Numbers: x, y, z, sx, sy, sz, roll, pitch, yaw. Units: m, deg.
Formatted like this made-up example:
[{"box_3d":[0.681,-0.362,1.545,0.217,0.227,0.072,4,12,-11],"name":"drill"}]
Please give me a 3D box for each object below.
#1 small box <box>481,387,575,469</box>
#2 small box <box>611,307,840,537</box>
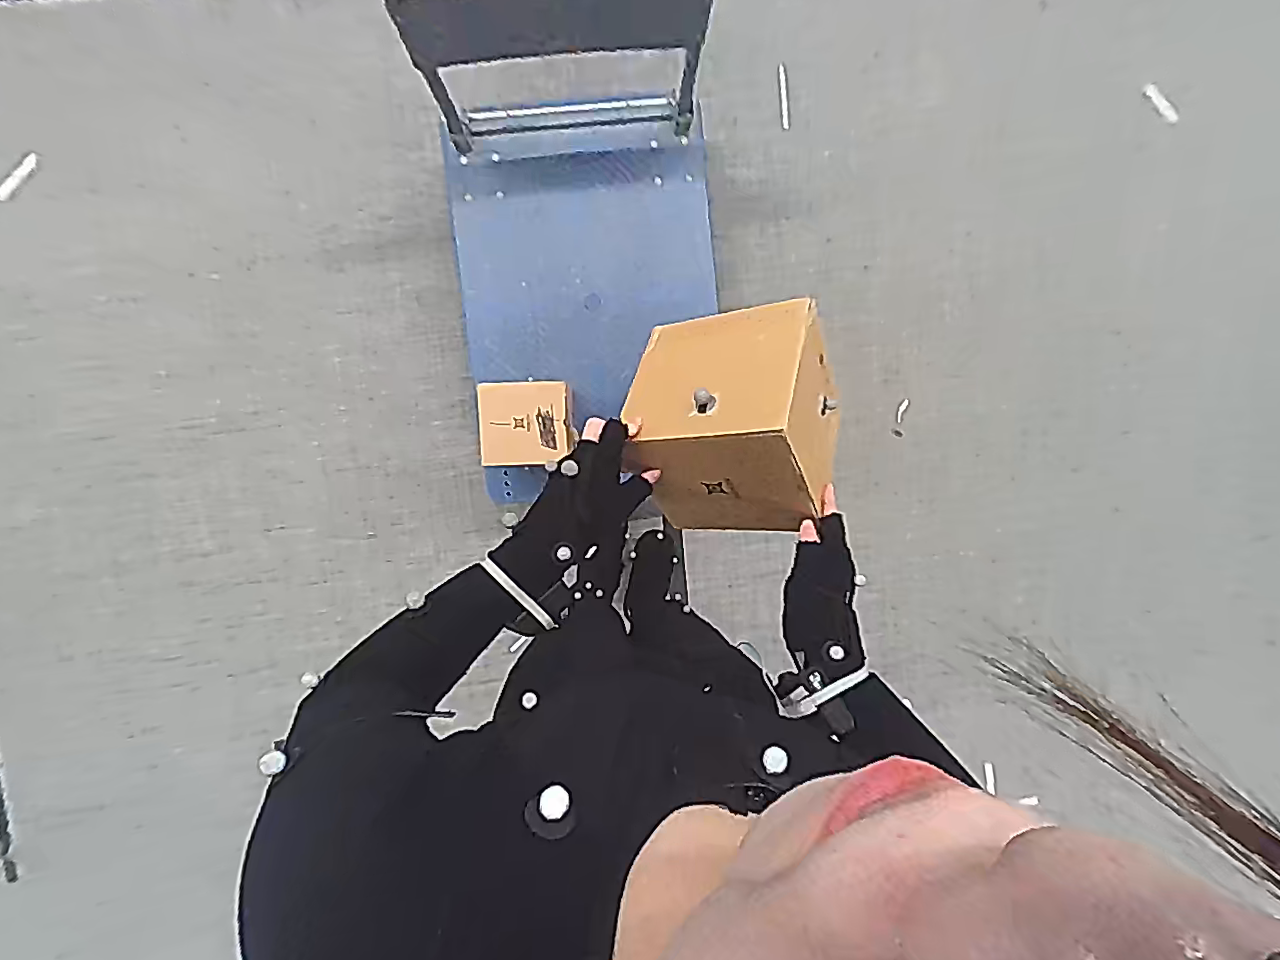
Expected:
[{"box_3d":[-0.232,-0.112,1.160,0.179,0.176,0.168,-2,94,-2],"name":"small box"},{"box_3d":[0.101,-0.055,0.574,0.179,0.168,0.176,-2,55,32],"name":"small box"}]
